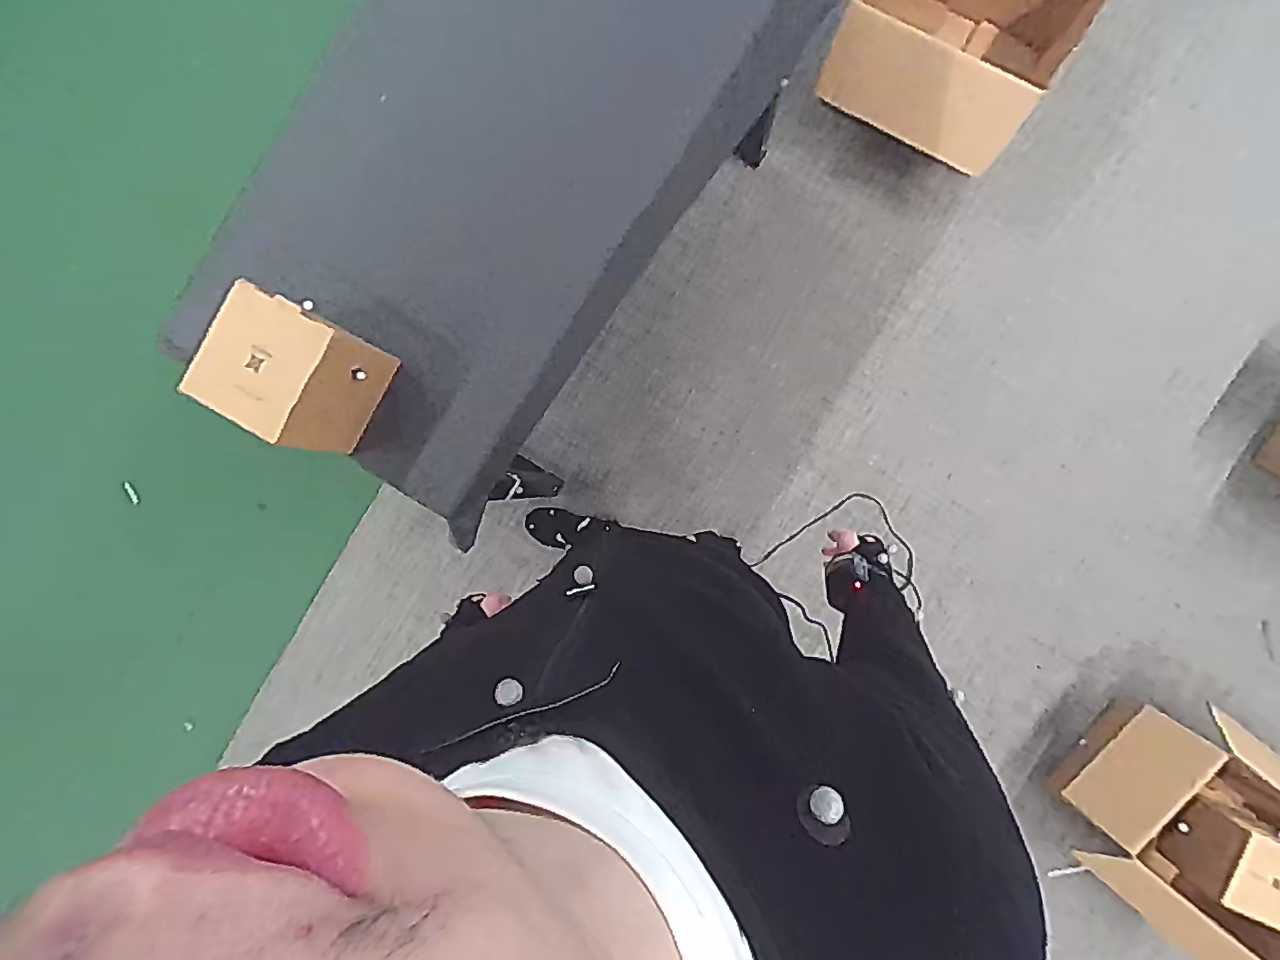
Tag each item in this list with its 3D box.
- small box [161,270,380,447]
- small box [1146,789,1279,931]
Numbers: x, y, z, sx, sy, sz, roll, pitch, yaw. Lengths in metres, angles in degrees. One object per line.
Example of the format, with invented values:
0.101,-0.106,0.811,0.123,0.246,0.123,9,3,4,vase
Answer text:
-0.515,-0.162,0.784,0.168,0.176,0.179,28,91,5,small box
1.284,0.817,1.176,0.179,0.176,0.168,25,90,4,small box
